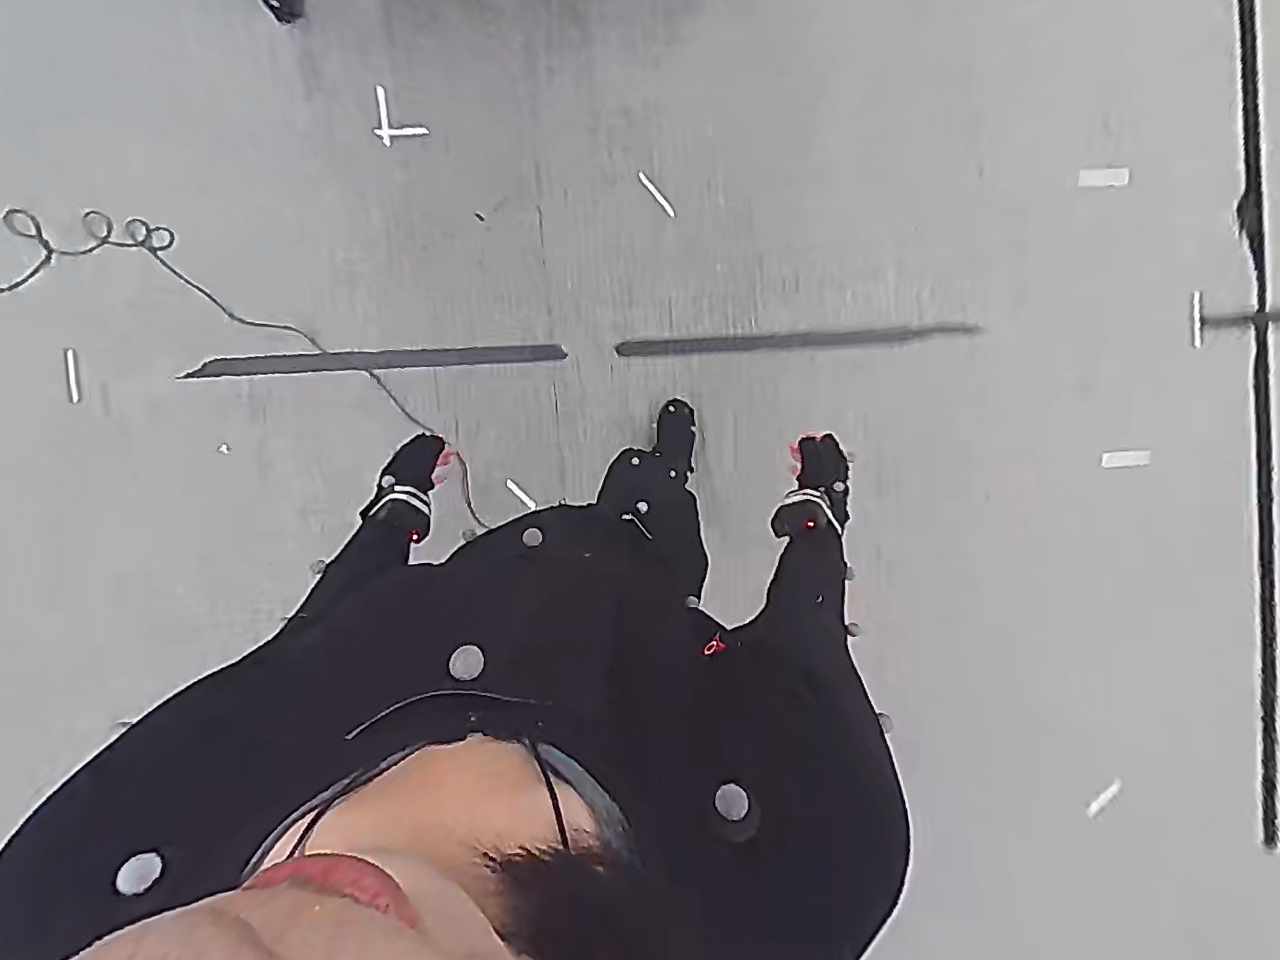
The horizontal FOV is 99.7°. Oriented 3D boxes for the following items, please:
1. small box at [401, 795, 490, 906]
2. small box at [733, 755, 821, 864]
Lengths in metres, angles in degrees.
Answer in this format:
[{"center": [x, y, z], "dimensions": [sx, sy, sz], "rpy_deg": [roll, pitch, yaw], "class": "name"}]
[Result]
[{"center": [-0.508, 0.973, 1.435], "dimensions": [0.168, 0.176, 0.179], "rpy_deg": [10, 90, -2], "class": "small box"}, {"center": [0.363, 0.890, 1.475], "dimensions": [0.179, 0.176, 0.168], "rpy_deg": [-16, 94, -3], "class": "small box"}]
